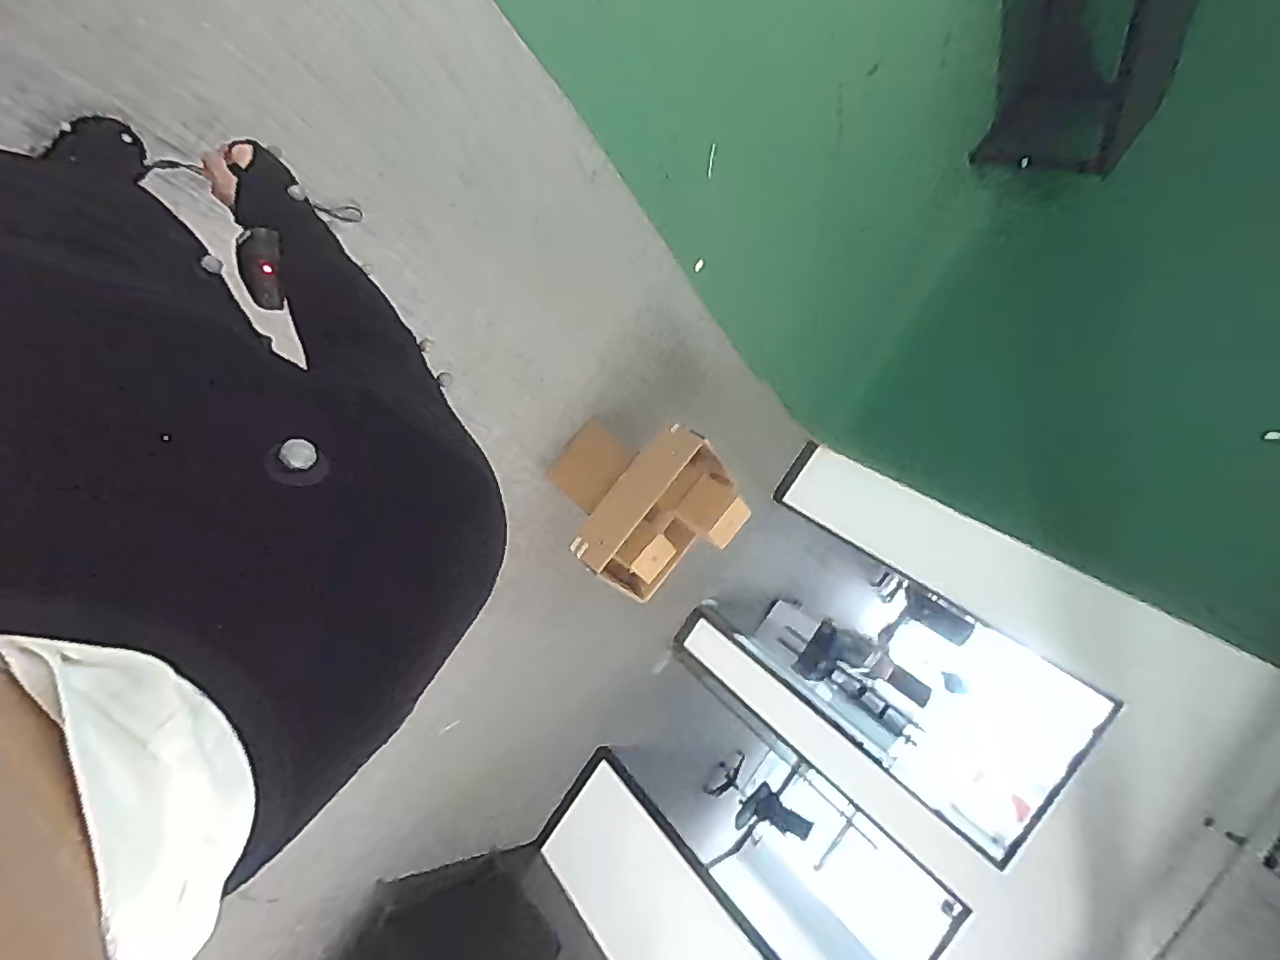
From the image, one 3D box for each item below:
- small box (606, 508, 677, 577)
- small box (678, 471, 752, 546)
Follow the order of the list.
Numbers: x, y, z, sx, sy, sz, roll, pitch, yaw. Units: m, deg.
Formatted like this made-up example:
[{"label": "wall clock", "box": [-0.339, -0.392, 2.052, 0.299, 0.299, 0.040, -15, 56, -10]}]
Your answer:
[{"label": "small box", "box": [0.003, 0.228, 2.027, 0.168, 0.176, 0.179, -47, 142, -7]}, {"label": "small box", "box": [0.265, 0.097, 1.929, 0.179, 0.176, 0.168, -49, 142, -4]}]
